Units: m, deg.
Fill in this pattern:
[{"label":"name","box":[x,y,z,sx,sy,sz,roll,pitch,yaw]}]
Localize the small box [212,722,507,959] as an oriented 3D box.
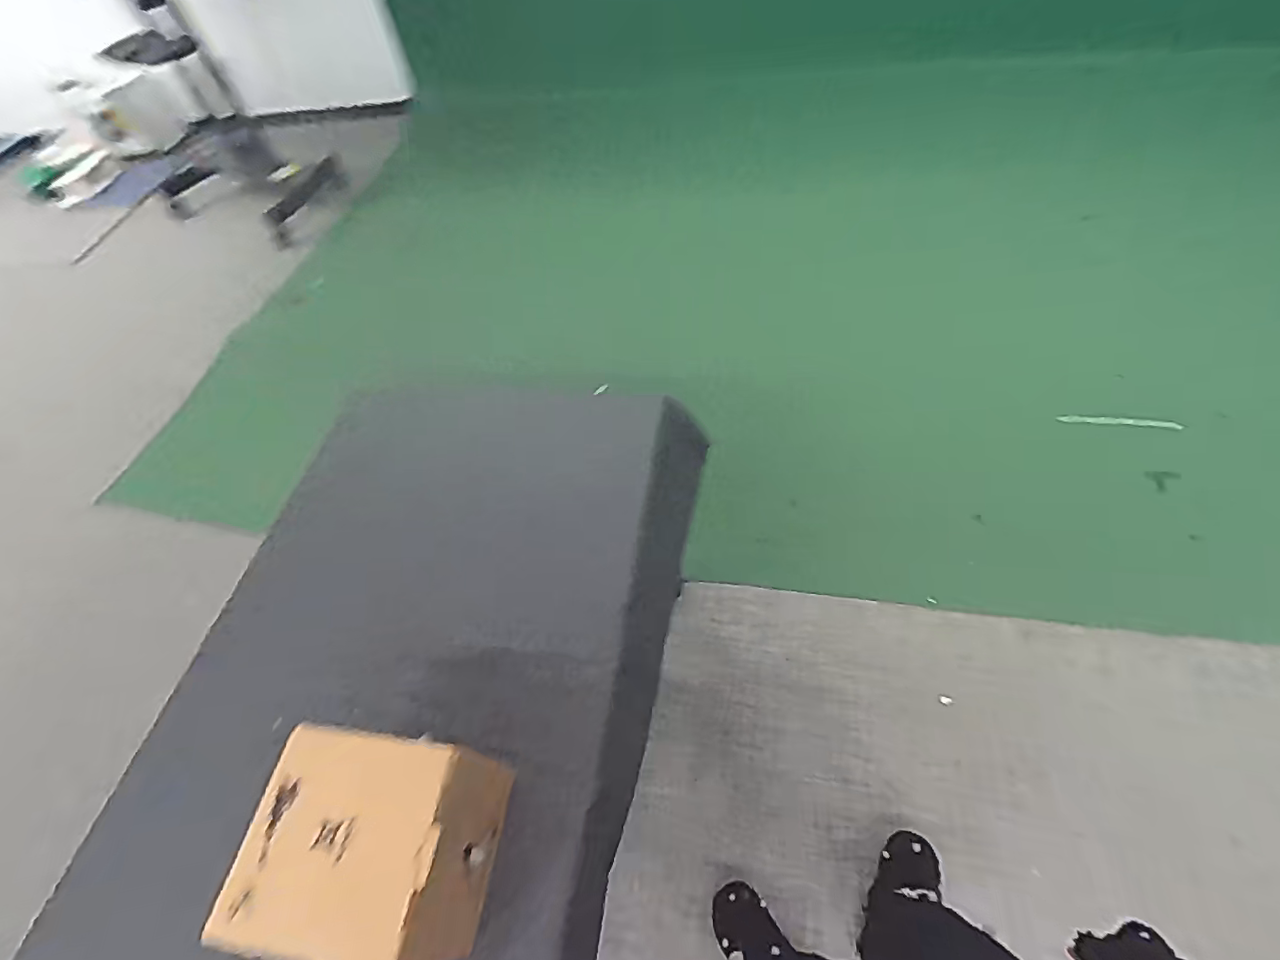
[{"label":"small box","box":[-0.254,0.354,0.544,0.179,0.176,0.168,3,58,10]}]
